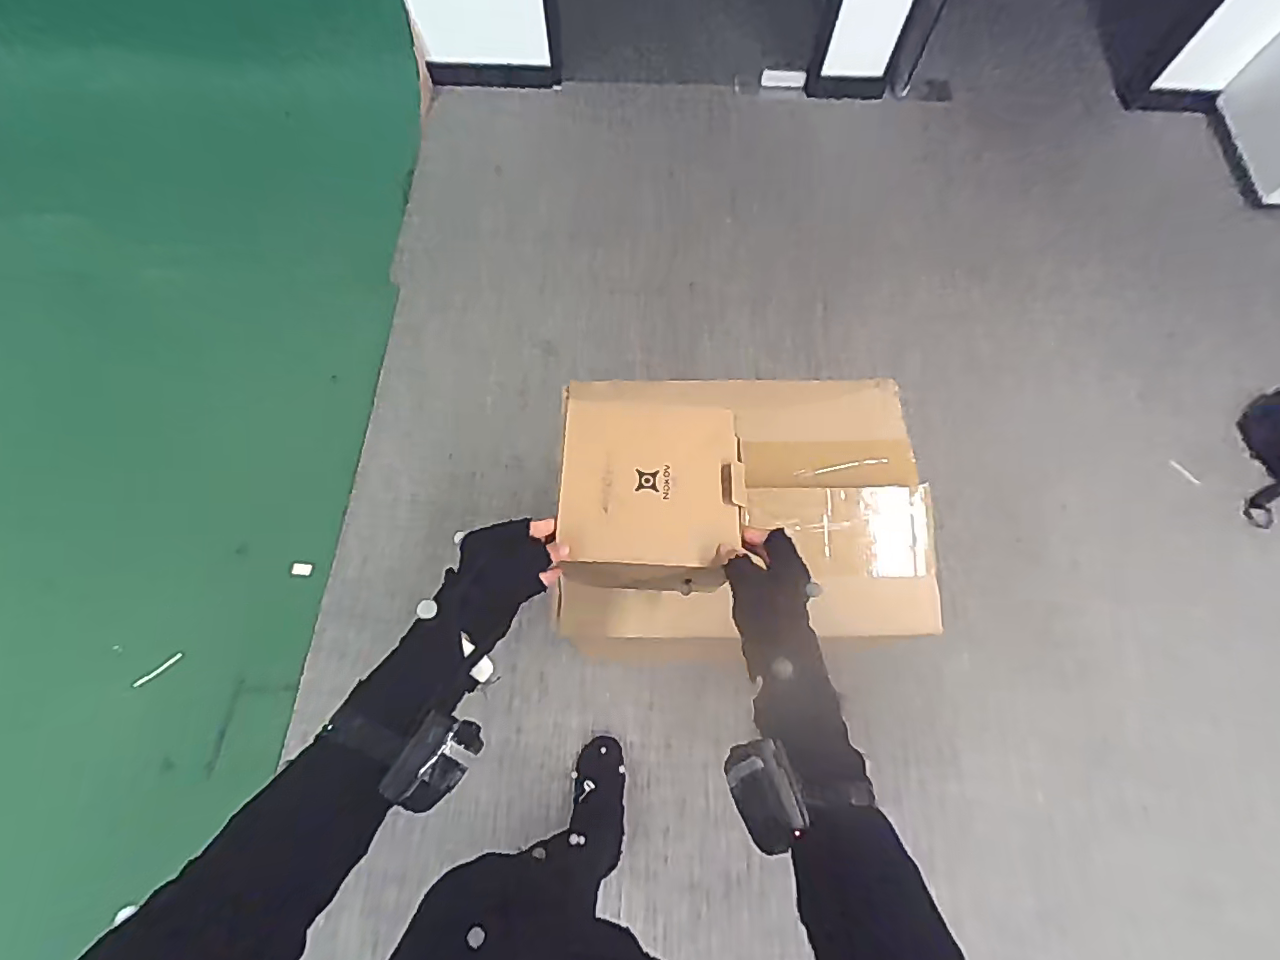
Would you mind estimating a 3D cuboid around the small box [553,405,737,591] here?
[{"bbox_3d":[0.005,0.029,0.607,0.179,0.176,0.168,1,70,0],"label":"small box"}]
